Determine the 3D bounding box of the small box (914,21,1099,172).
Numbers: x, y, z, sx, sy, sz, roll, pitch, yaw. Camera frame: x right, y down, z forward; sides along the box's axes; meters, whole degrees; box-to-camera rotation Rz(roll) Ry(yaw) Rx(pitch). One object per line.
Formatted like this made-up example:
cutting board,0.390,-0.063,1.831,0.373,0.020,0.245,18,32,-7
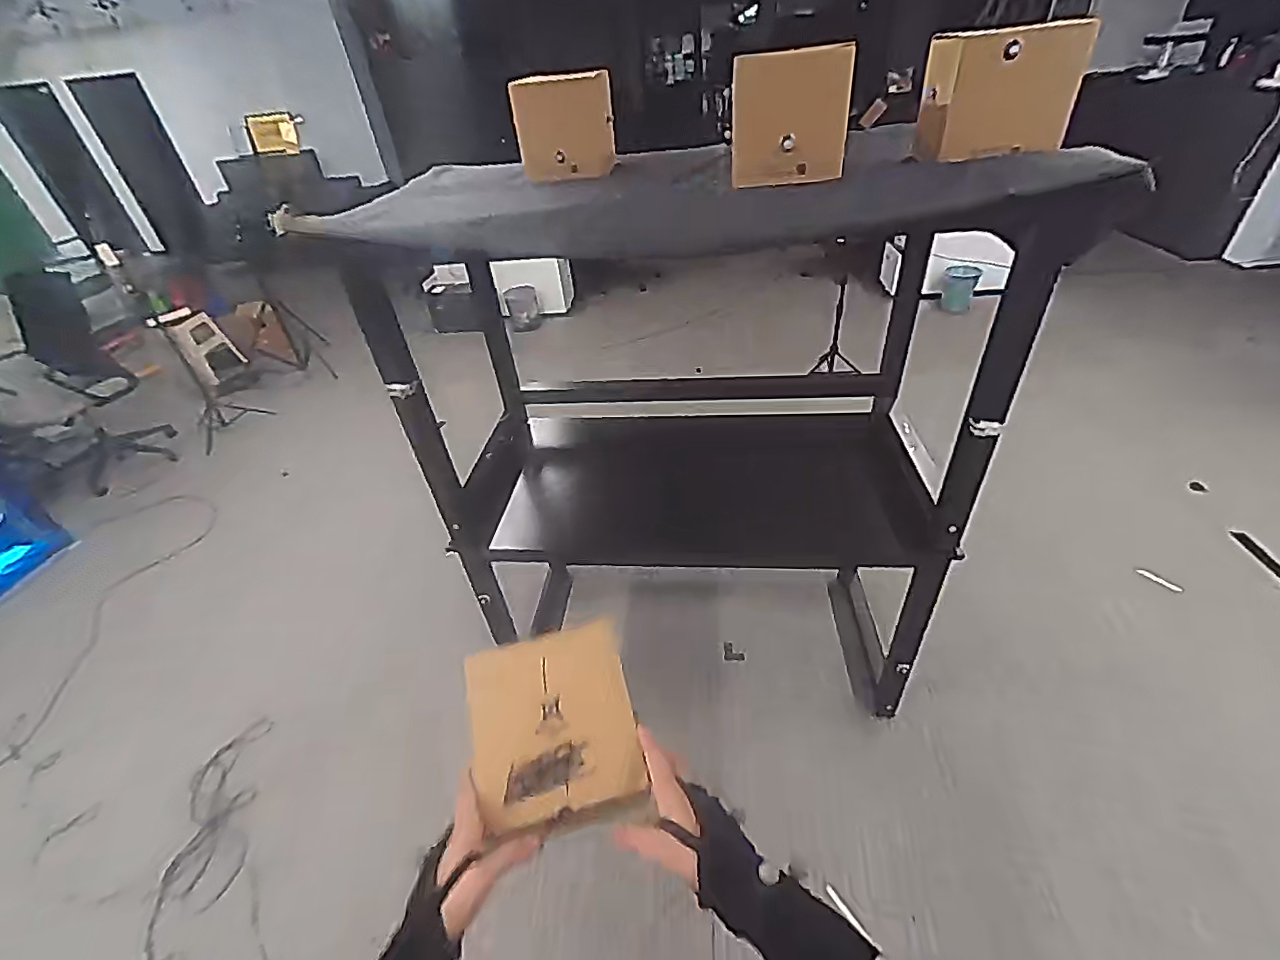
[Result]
small box,0.537,-0.579,0.828,0.168,0.176,0.179,1,37,11

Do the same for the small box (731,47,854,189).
small box,0.231,-0.571,0.862,0.168,0.176,0.179,0,37,10
